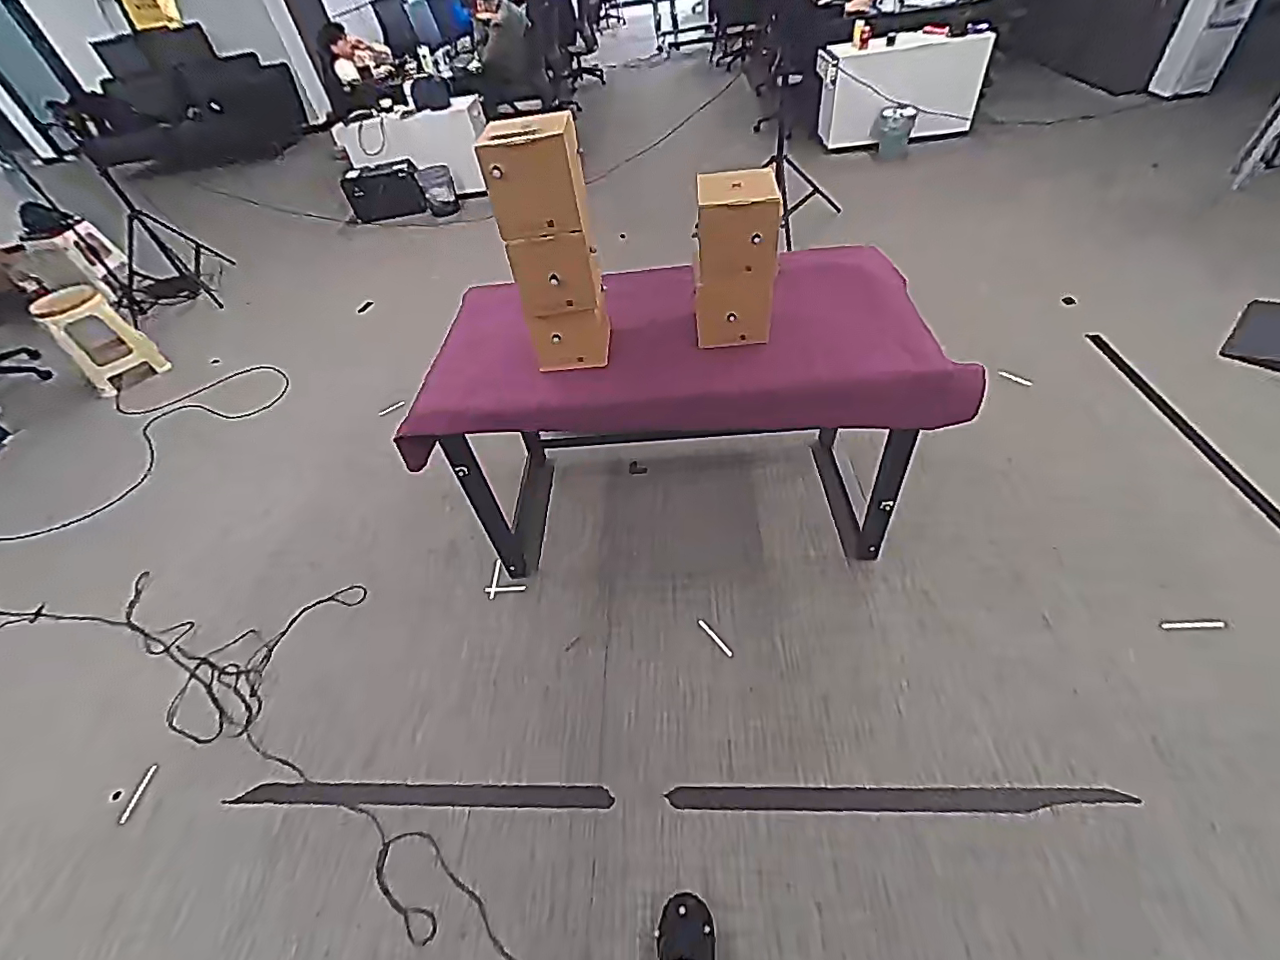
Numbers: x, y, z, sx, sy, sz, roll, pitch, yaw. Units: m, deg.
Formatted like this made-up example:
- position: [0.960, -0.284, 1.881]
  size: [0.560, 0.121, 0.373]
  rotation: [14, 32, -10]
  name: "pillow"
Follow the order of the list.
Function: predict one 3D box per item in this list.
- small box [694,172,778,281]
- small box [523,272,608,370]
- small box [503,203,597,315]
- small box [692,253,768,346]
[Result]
- position: [0.206, -0.550, 1.188]
  size: [0.168, 0.176, 0.179]
  rotation: [-2, 46, 6]
  name: "small box"
- position: [-0.173, -0.380, 1.317]
  size: [0.168, 0.176, 0.179]
  rotation: [-4, 46, 5]
  name: "small box"
- position: [-0.188, -0.476, 1.184]
  size: [0.168, 0.176, 0.179]
  rotation: [-8, 47, 2]
  name: "small box"
- position: [0.214, -0.437, 1.304]
  size: [0.168, 0.176, 0.179]
  rotation: [-4, 47, 5]
  name: "small box"
